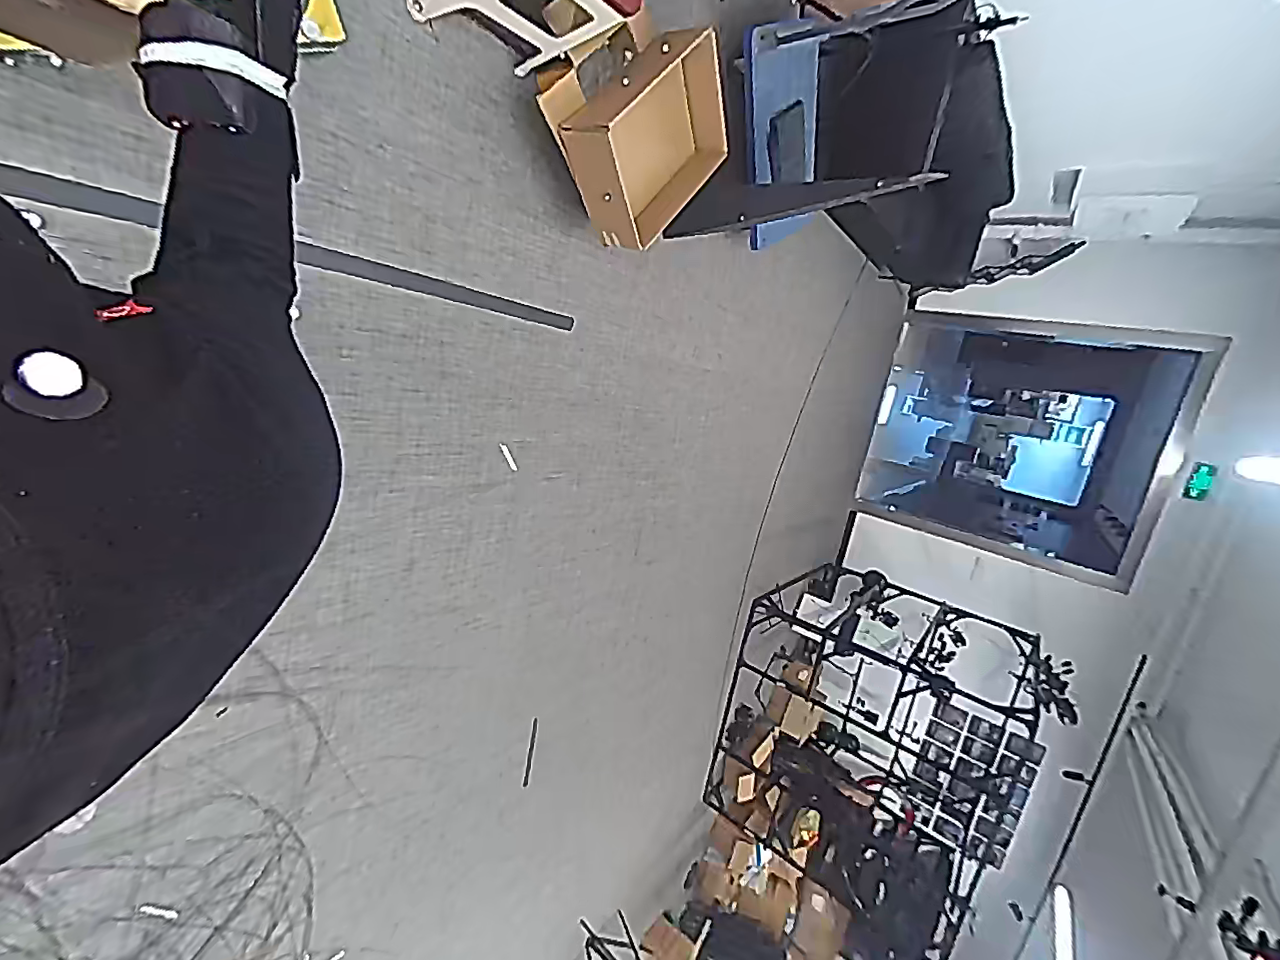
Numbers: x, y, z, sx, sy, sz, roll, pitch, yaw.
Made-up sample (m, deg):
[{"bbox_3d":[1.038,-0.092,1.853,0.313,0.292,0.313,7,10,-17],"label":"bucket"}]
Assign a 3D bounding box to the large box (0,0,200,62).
[{"bbox_3d":[-0.502,-0.476,0.250,0.408,0.320,0.320,-7,117,-55],"label":"large box"}]
